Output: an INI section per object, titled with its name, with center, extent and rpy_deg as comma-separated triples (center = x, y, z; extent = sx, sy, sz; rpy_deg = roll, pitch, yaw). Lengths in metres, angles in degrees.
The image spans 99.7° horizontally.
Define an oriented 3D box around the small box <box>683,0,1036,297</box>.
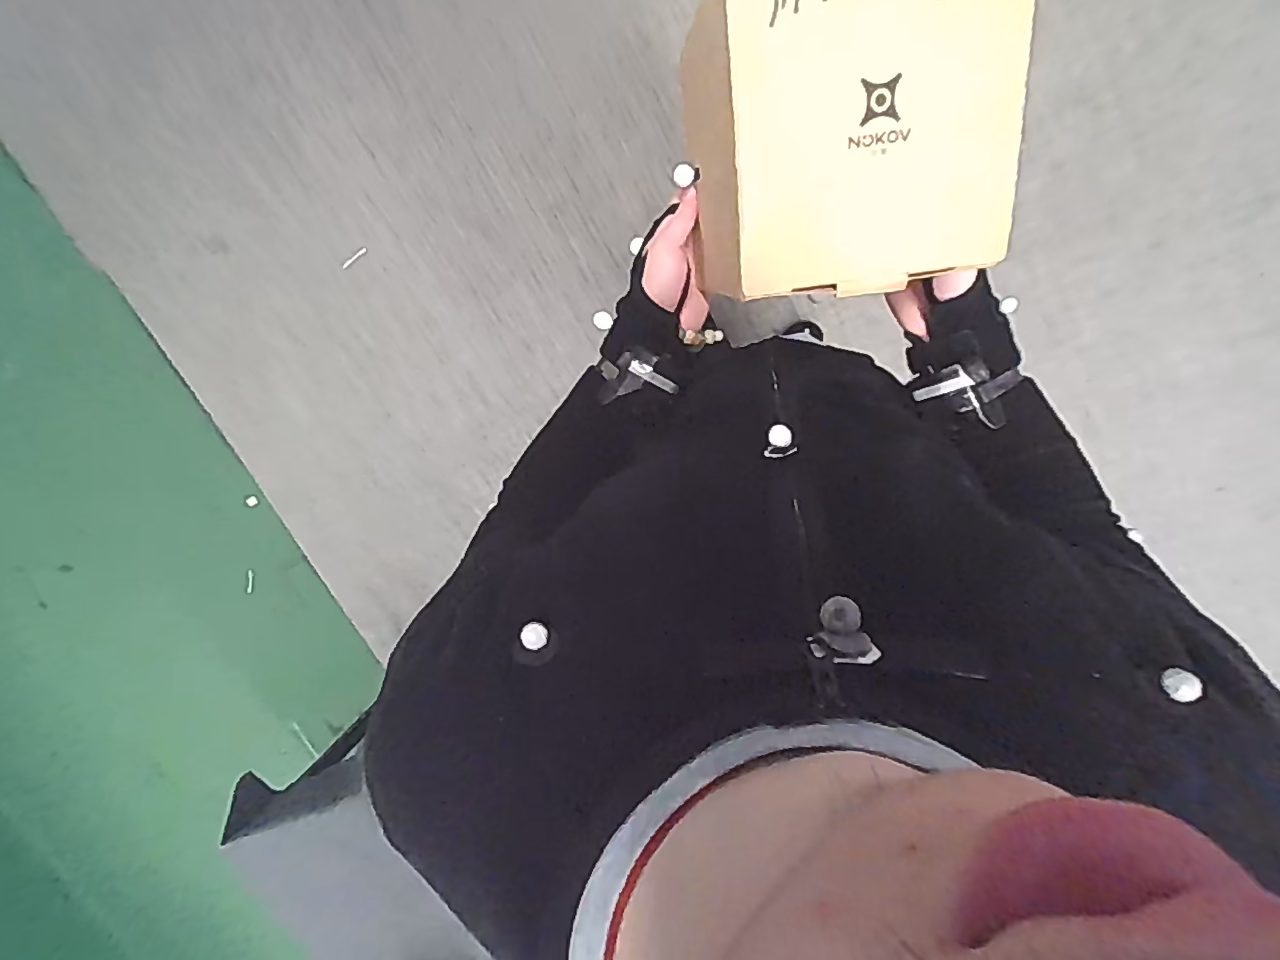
[small box]
center = 0.127, -0.234, 0.377
extent = 0.168, 0.176, 0.179
rpy_deg = -8, 113, -2
